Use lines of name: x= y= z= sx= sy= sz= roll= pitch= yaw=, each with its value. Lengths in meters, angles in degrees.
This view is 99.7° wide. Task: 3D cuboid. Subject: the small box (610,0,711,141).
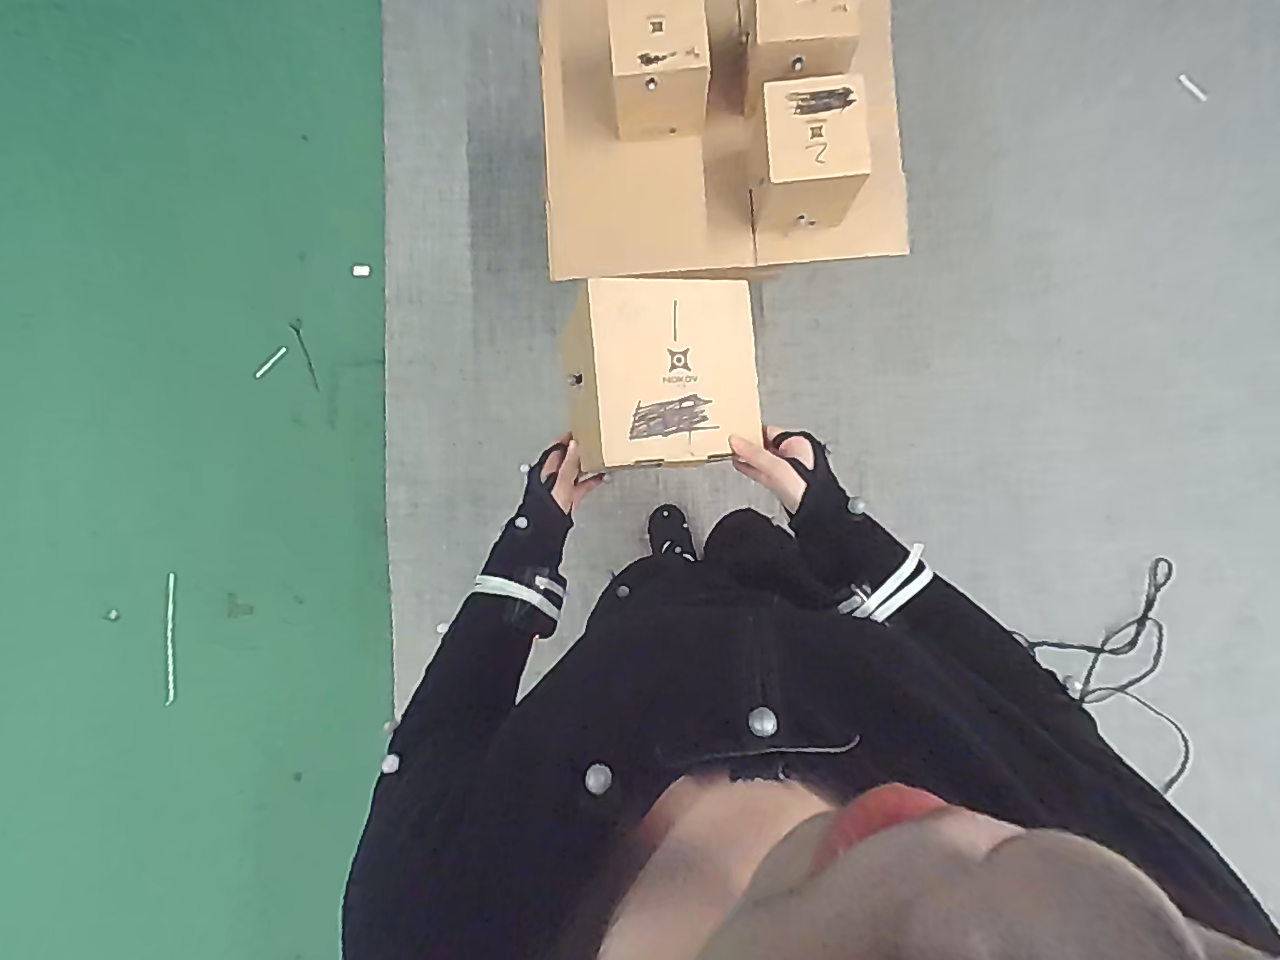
small box: x=0.037 y=-0.764 z=0.987 sx=0.168 sy=0.176 sz=0.179 roll=-4 pitch=86 yaw=5

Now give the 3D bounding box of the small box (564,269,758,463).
small box: x=0.012 y=-0.110 z=0.590 sx=0.168 sy=0.176 sz=0.179 roll=-5 pitch=89 yaw=-15
